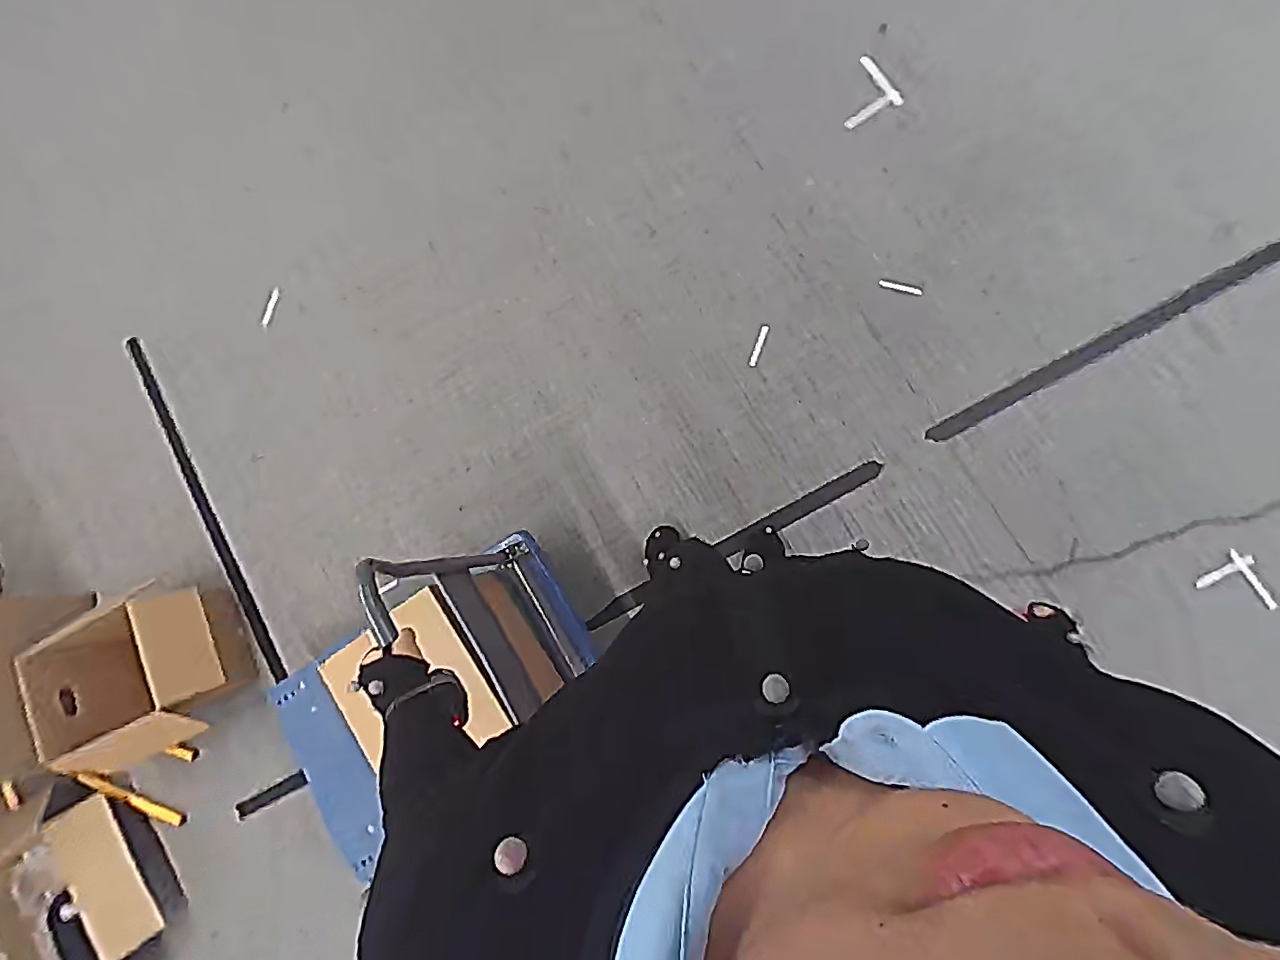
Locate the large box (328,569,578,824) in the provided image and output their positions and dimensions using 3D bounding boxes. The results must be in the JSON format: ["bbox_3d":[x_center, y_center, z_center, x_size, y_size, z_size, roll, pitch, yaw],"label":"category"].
[{"bbox_3d":[-0.410,0.467,1.260,0.320,0.320,0.408,-36,80,6],"label":"large box"}]
